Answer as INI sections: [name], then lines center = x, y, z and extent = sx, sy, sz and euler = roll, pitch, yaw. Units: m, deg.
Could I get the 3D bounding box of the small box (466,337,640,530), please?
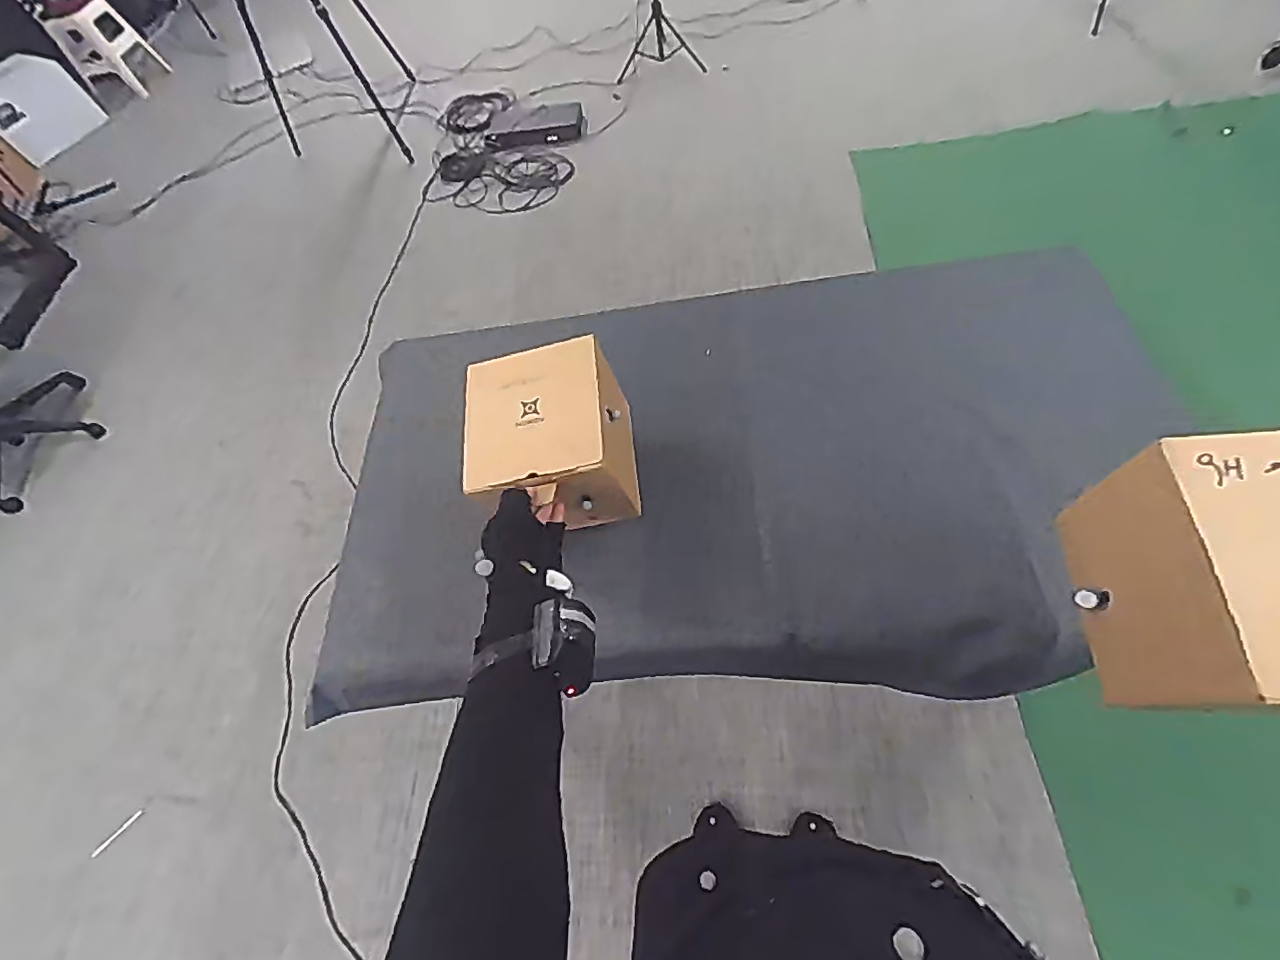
[small box]
center = -0.103, -0.046, 0.687
extent = 0.168, 0.176, 0.179
euler = -11, 63, 9
